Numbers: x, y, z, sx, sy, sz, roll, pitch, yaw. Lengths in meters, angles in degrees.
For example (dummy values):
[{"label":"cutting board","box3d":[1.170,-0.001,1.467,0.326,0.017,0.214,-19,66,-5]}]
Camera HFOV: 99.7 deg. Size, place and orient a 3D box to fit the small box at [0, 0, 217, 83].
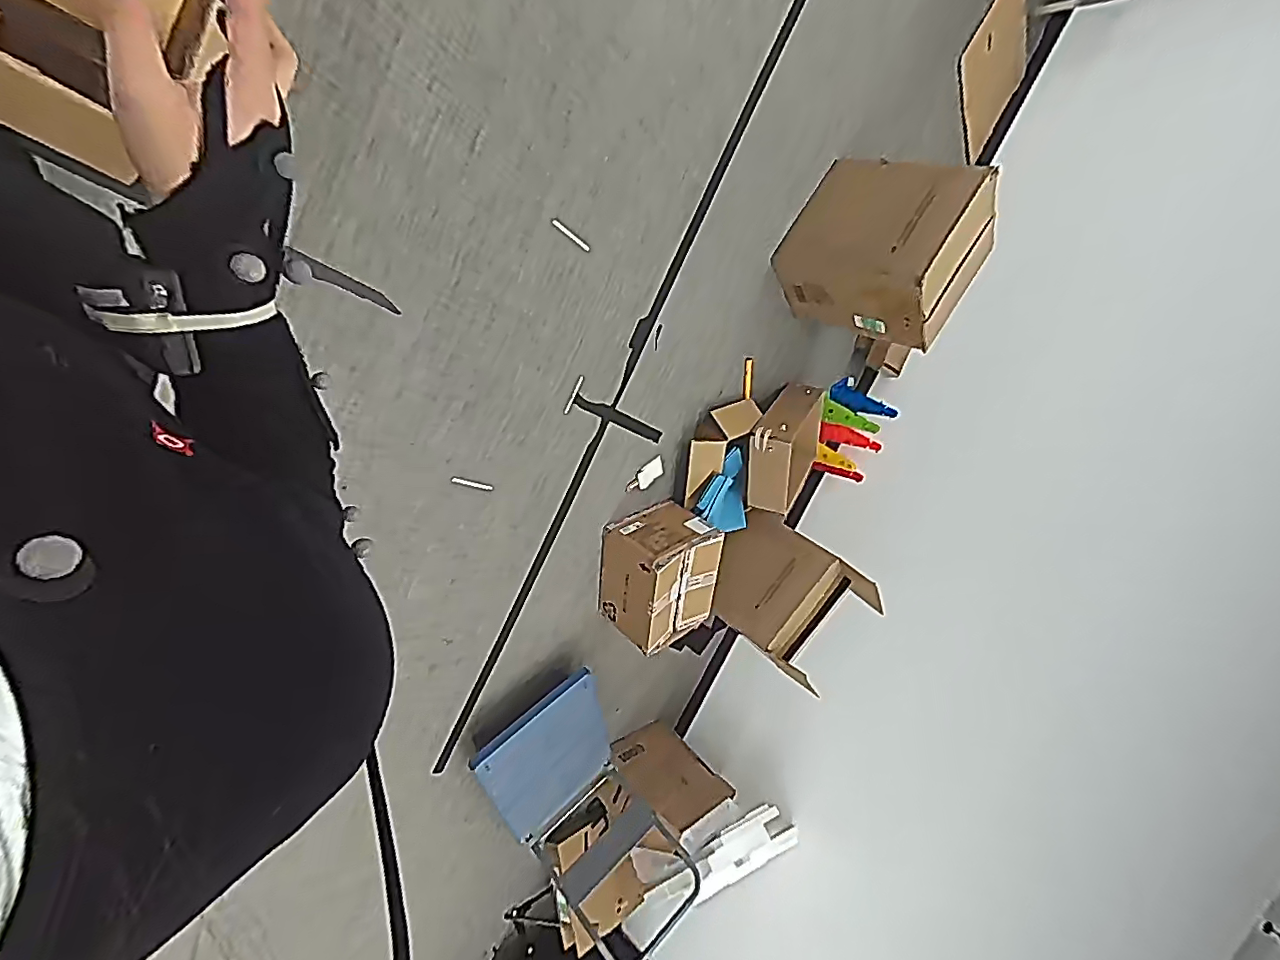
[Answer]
[{"label":"small box","box3d":[-0.307,-0.325,0.248,0.179,0.176,0.168,11,107,-50]}]
